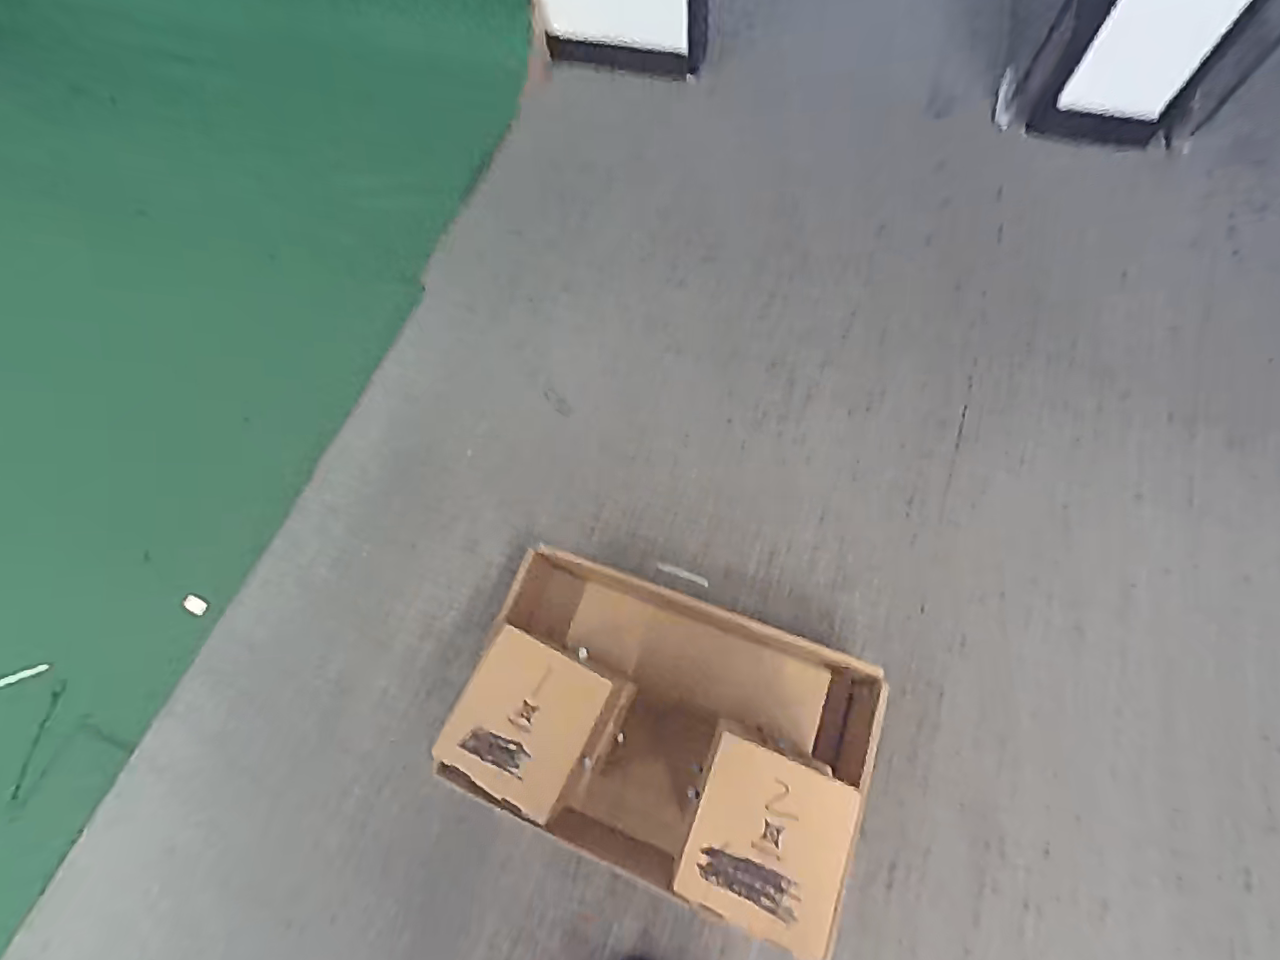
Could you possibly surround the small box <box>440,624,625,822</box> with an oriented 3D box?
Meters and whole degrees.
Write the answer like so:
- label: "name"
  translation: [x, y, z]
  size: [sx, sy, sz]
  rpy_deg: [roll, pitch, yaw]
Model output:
- label: "small box"
  translation: [-0.131, 0.324, 0.745]
  size: [0.168, 0.176, 0.179]
  rpy_deg: [24, 72, 14]
